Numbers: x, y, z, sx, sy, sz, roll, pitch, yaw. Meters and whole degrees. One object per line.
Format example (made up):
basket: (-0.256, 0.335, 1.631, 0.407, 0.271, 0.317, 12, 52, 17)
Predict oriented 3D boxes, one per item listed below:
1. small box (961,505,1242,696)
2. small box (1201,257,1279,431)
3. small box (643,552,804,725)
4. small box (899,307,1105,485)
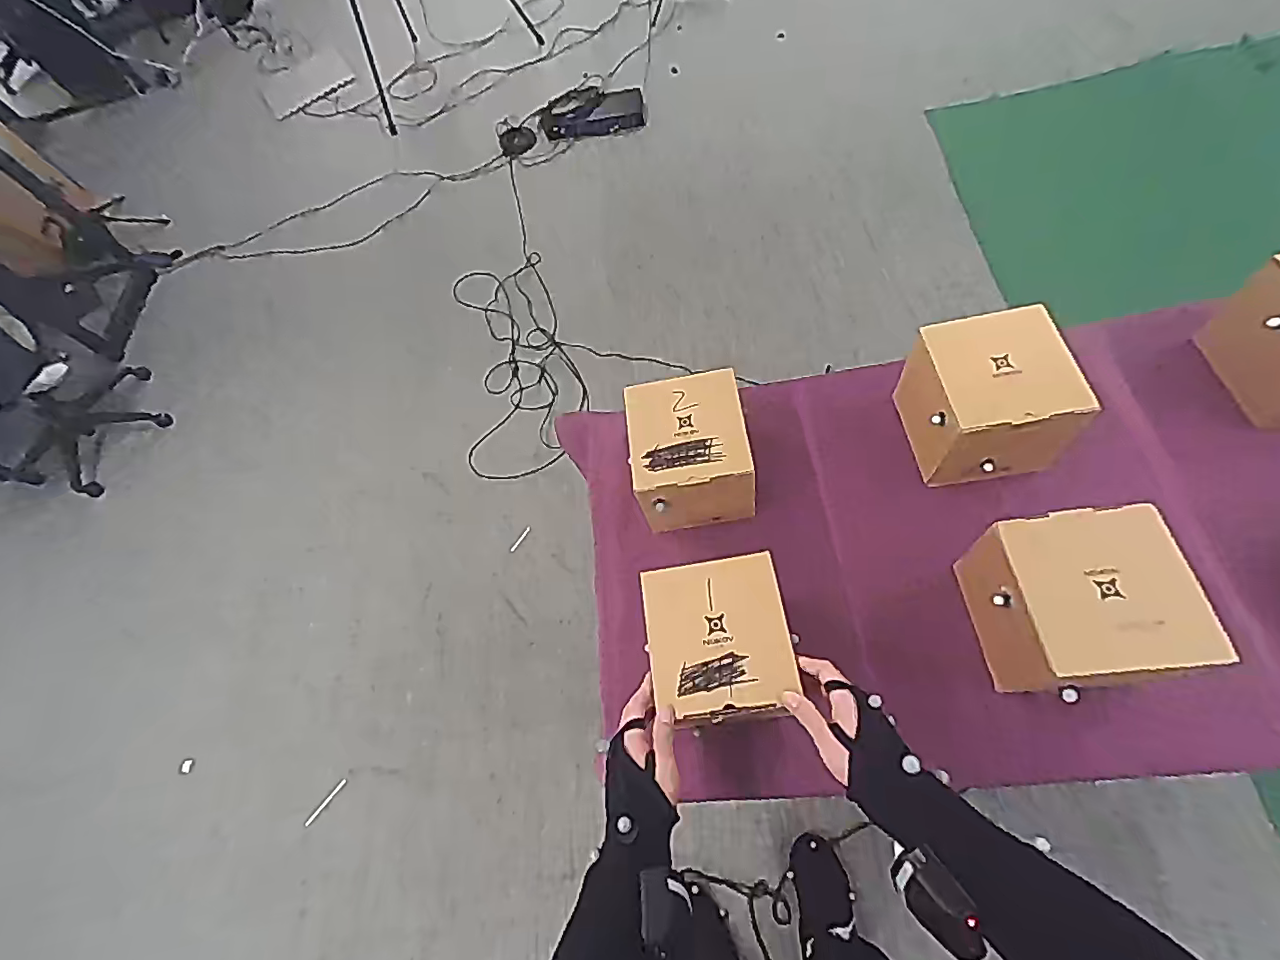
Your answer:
small box: (0.513, 0.150, 0.640, 0.168, 0.176, 0.179, -8, 62, 9)
small box: (0.927, -0.191, 0.719, 0.168, 0.176, 0.179, -10, 63, 10)
small box: (0.105, 0.211, 0.693, 0.168, 0.176, 0.179, -10, 61, 6)
small box: (0.496, -0.114, 0.778, 0.168, 0.176, 0.179, -9, 64, 7)
